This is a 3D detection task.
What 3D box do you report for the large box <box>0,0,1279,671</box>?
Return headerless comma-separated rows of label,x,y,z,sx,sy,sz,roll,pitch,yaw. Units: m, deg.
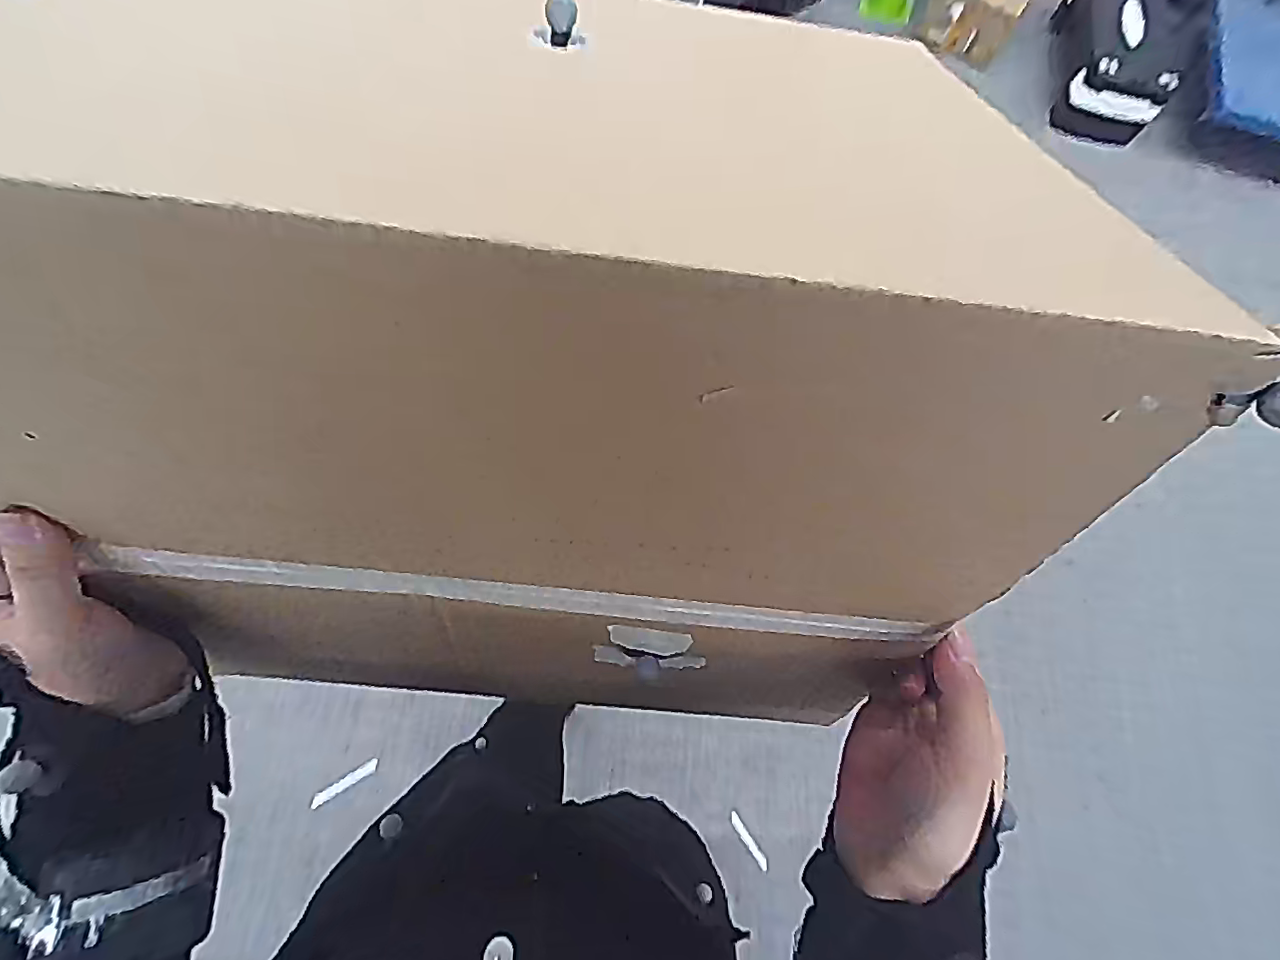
large box,-0.038,-0.099,0.336,0.408,0.320,0.320,5,51,-3
